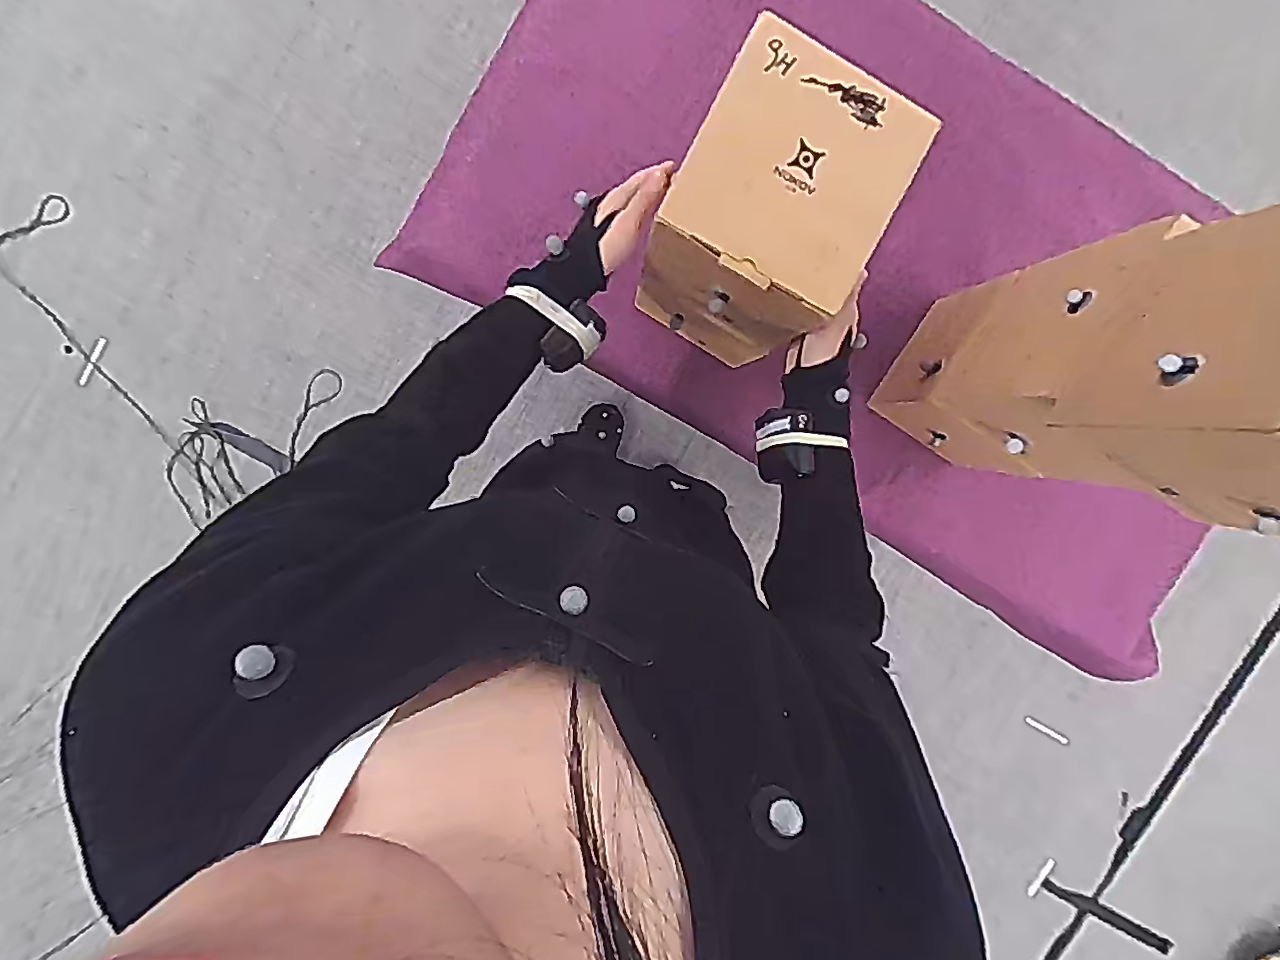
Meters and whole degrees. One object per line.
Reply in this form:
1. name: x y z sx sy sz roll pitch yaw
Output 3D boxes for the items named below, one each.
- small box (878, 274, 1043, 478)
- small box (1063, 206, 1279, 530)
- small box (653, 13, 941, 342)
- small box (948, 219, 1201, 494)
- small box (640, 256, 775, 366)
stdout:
1. small box: 0.439 -0.124 0.693 0.168 0.176 0.179 33 93 -6
2. small box: 0.449 -0.070 0.371 0.168 0.176 0.179 29 94 -6
3. small box: 0.121 -0.247 0.499 0.168 0.176 0.179 29 94 -6
4. small box: 0.451 -0.108 0.530 0.168 0.176 0.179 32 94 -5
5. small box: 0.111 -0.257 0.663 0.168 0.176 0.179 31 93 -6
